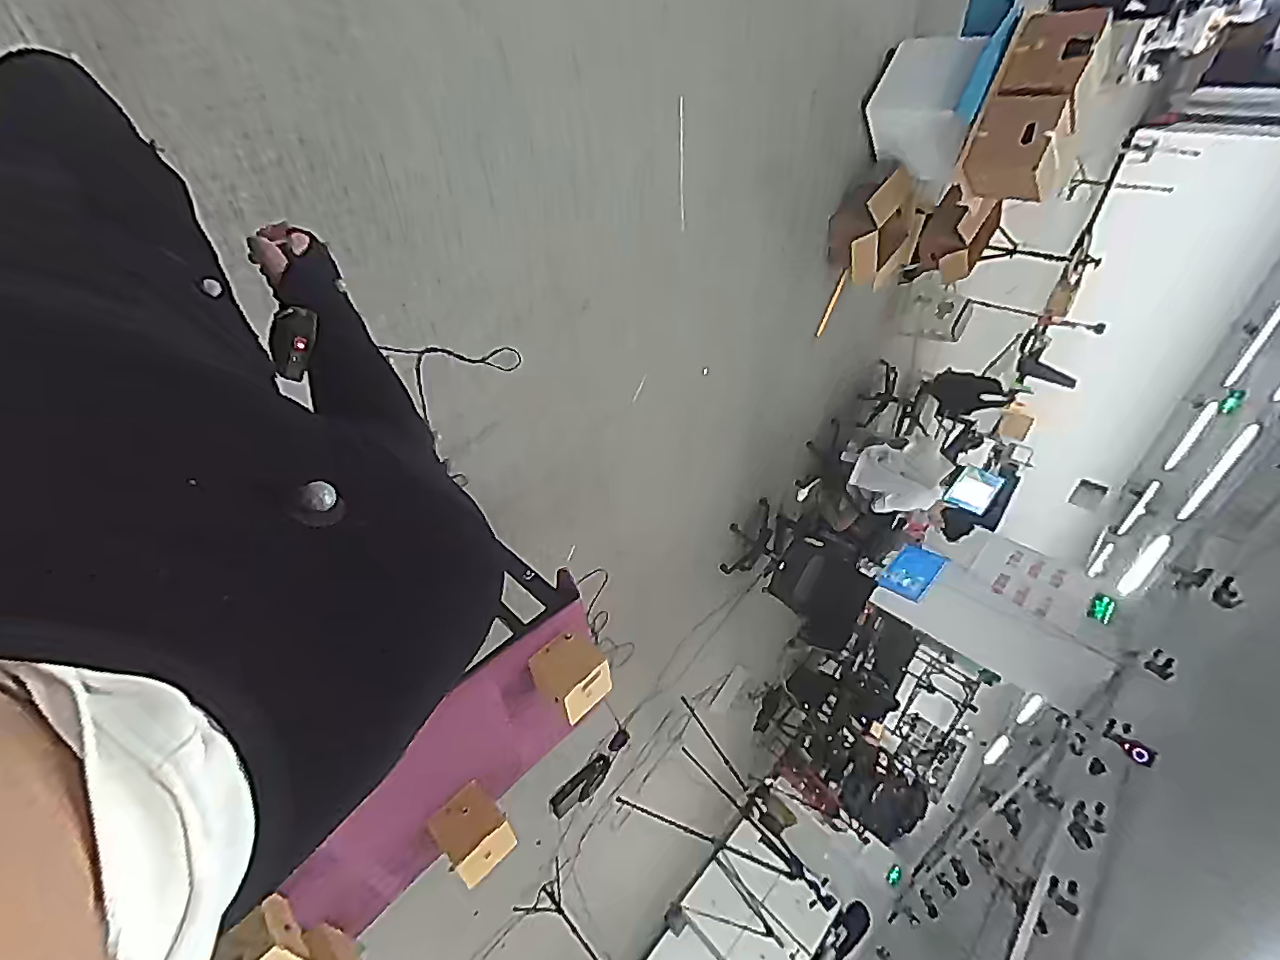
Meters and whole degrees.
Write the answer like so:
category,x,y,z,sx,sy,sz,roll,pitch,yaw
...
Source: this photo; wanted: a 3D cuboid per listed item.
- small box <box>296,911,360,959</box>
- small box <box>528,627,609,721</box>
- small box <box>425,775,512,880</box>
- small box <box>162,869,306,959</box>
category,x,y,z,sx,sy,sz,roll,pitch,yaw
small box,-0.827,1.239,1.360,0.168,0.176,0.179,-37,139,-32
small box,-0.212,0.564,1.601,0.168,0.176,0.179,-34,140,-30
small box,-0.504,1.014,1.592,0.168,0.176,0.179,-32,135,-31
small box,-0.846,0.966,1.132,0.168,0.176,0.179,-34,138,-32
